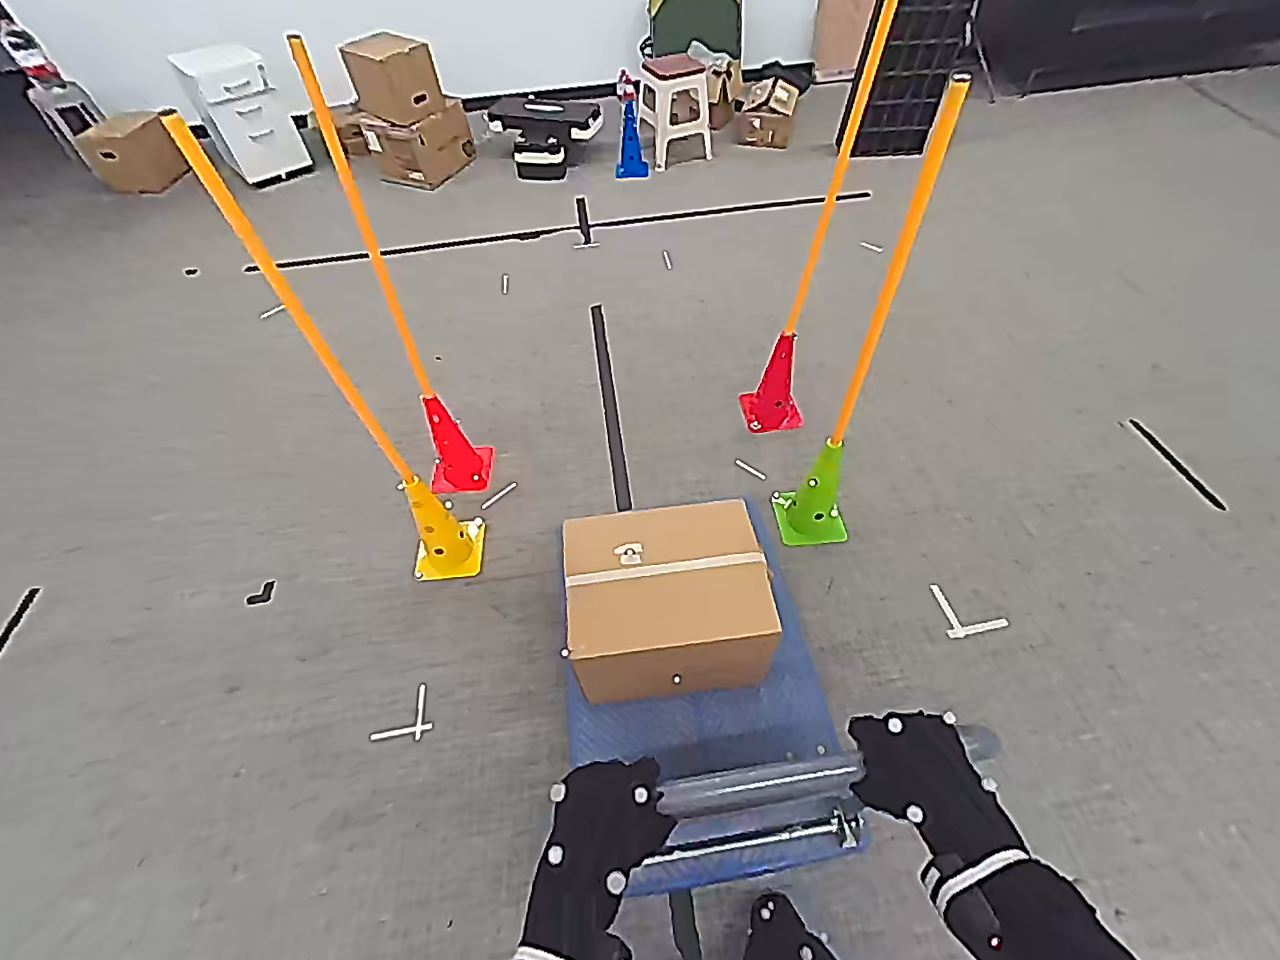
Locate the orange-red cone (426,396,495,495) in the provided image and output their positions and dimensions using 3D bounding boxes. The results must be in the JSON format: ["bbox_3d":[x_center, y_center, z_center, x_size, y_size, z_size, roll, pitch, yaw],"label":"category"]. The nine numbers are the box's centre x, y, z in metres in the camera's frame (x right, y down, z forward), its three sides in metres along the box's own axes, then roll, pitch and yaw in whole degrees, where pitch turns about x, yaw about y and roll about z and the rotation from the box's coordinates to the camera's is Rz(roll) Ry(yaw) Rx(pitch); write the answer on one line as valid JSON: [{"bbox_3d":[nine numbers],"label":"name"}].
[{"bbox_3d":[-0.626,-0.133,1.775,0.198,0.360,0.199,-2,51,1],"label":"orange-red cone"}]

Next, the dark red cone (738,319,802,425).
[{"bbox_3d":[0.476,-0.380,1.875,0.201,0.394,0.202,-7,52,-5],"label":"dark red cone"}]

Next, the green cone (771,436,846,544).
[{"bbox_3d":[0.530,0.009,1.590,0.202,0.368,0.200,-5,52,-2],"label":"green cone"}]

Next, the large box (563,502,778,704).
[{"bbox_3d":[0.058,0.285,1.221,0.408,0.320,0.320,-8,52,-2],"label":"large box"}]
